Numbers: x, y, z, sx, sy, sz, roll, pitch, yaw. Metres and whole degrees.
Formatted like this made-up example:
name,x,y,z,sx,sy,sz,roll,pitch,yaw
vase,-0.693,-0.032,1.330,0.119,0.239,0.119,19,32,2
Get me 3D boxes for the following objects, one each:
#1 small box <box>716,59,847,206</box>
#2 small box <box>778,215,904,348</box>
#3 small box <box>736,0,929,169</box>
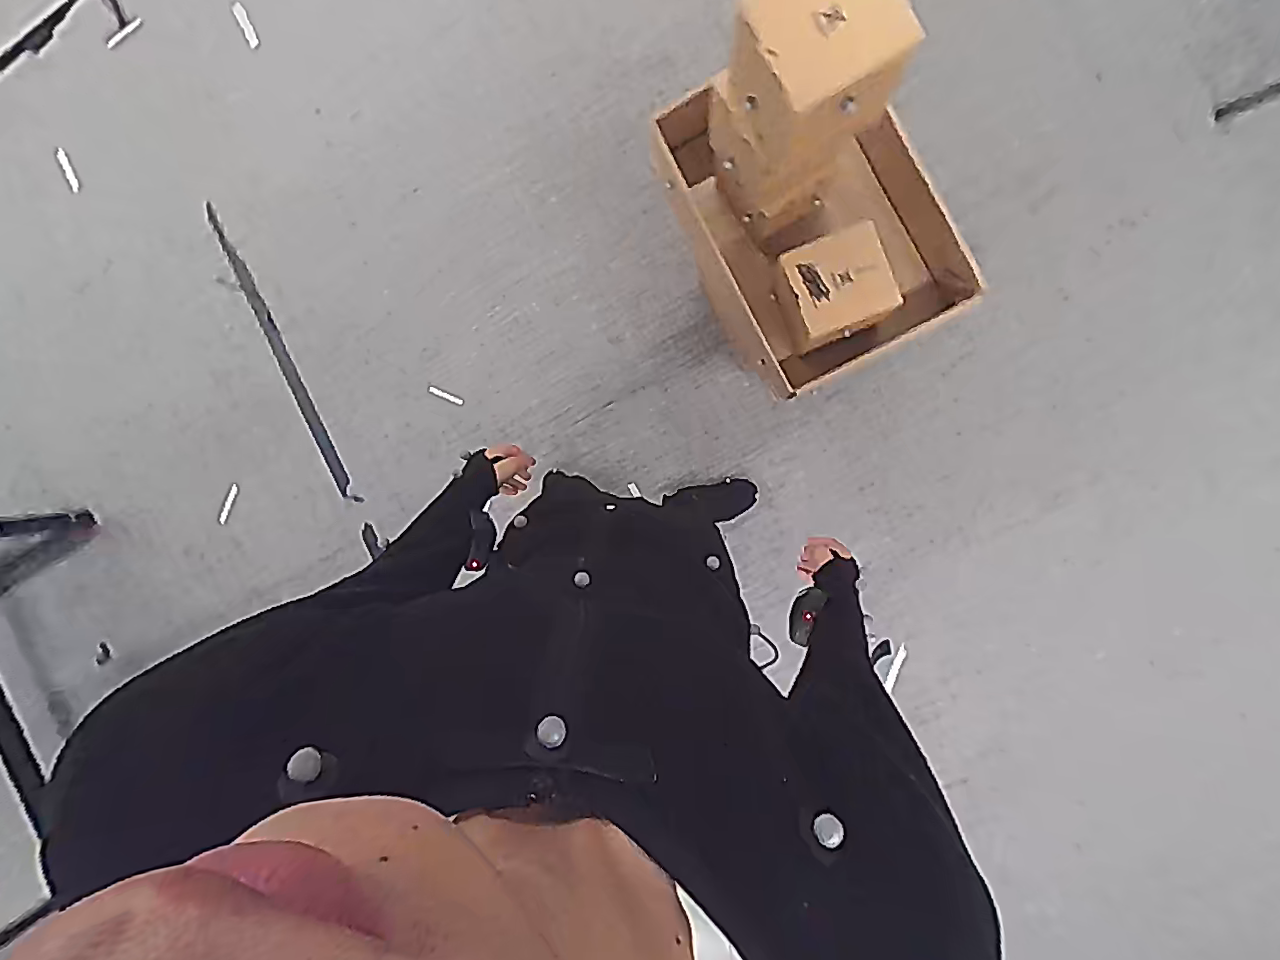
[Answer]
name,x,y,z,sx,sy,sz,roll,pitch,yaw
small box,0.241,-0.606,0.907,0.179,0.176,0.168,-31,91,8
small box,0.381,-0.376,1.064,0.179,0.176,0.168,-20,90,8
small box,0.249,-0.578,0.744,0.179,0.176,0.168,-28,91,7
